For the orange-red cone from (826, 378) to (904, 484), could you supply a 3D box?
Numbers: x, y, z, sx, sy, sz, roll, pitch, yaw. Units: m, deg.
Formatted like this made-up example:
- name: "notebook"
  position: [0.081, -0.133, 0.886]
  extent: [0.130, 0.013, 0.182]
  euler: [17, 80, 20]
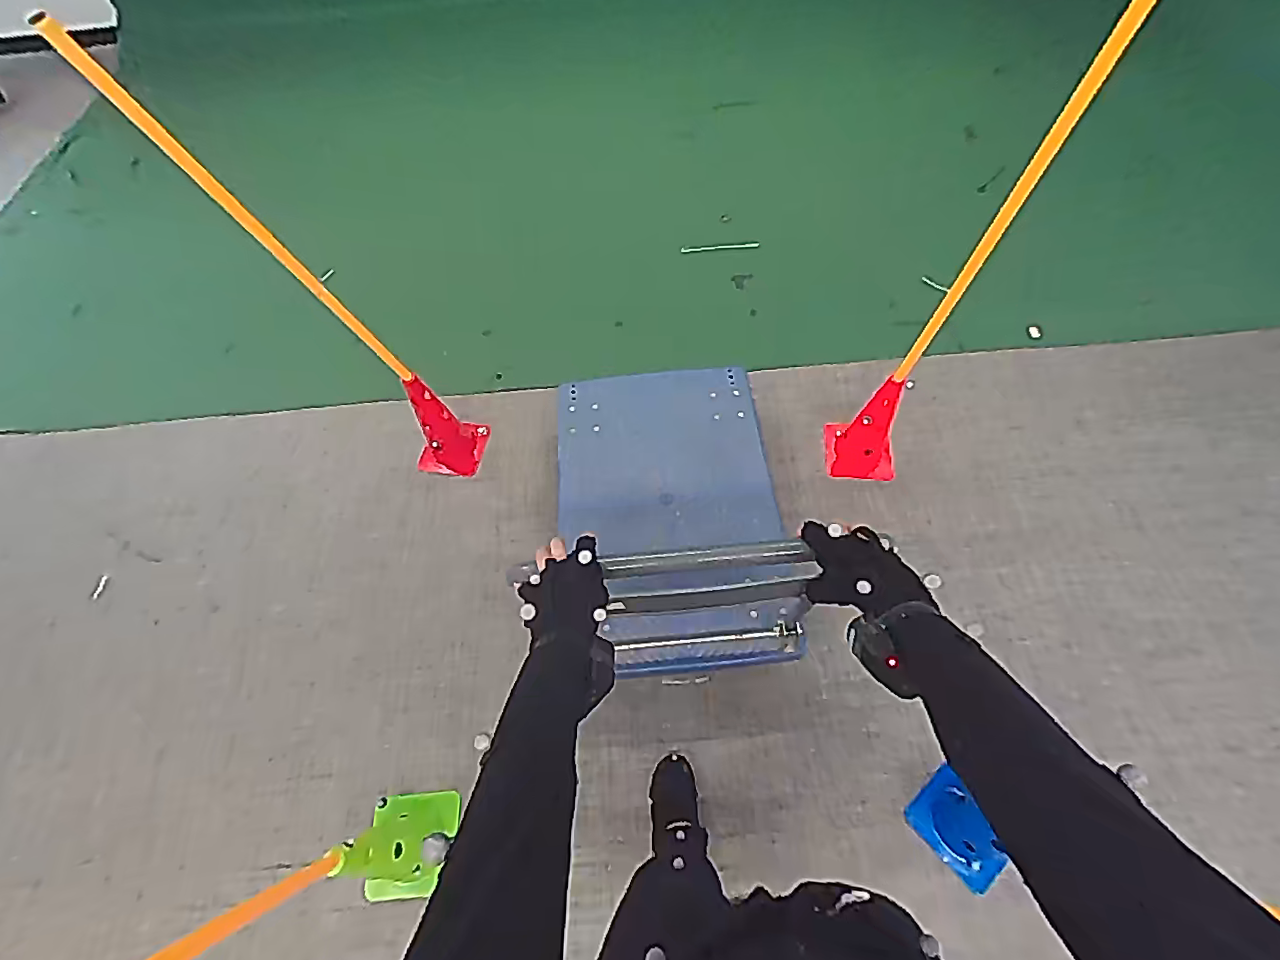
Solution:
- name: "orange-red cone"
  position: [0.673, -0.160, 1.539]
  extent: [0.198, 0.360, 0.199]
  euler: [5, 61, 7]
